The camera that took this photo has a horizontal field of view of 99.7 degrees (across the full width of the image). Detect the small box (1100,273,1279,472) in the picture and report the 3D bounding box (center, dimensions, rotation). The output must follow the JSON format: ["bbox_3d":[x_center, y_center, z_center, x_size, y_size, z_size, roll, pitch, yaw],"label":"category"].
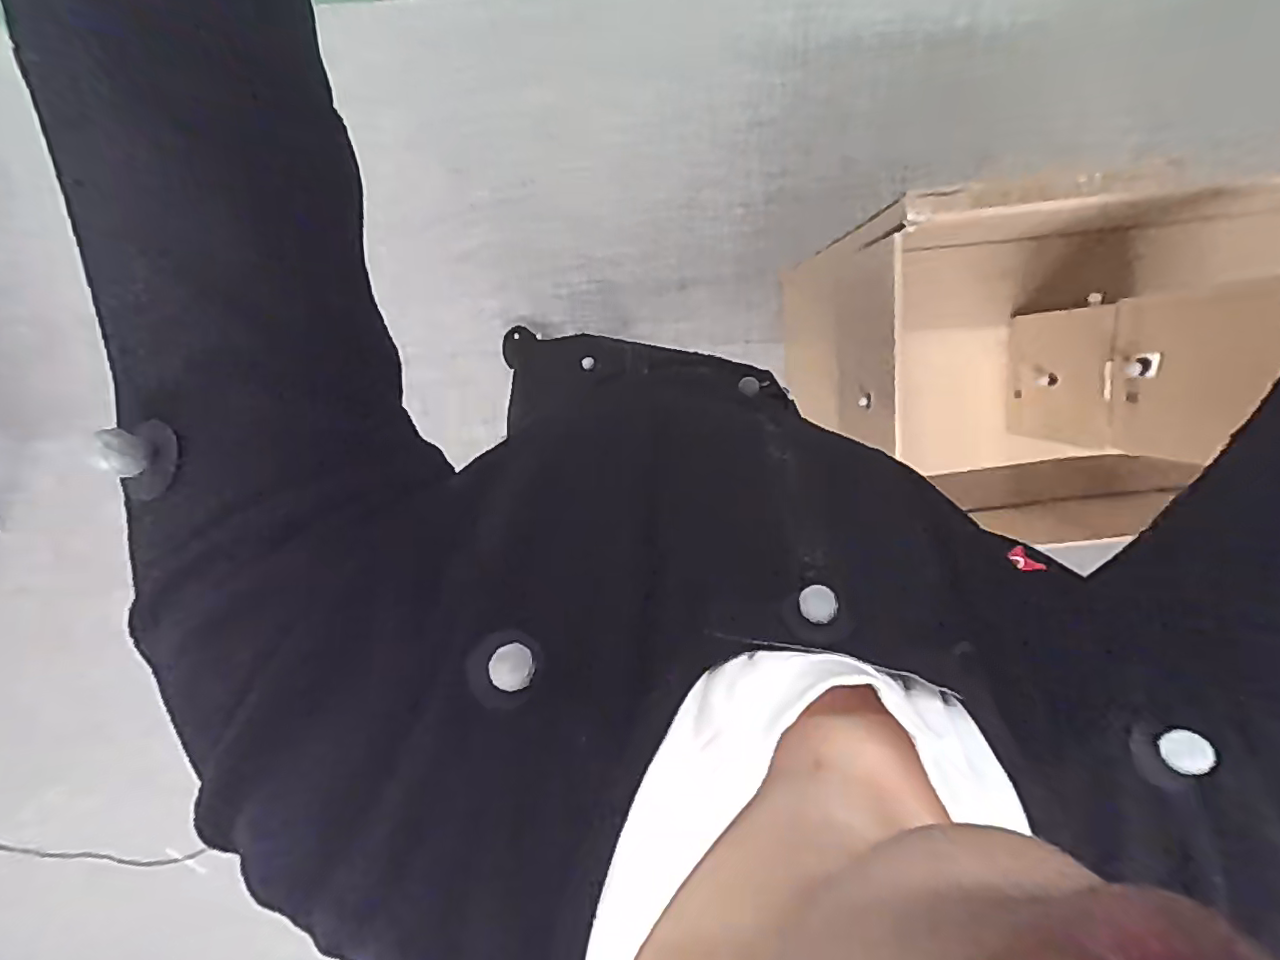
[{"bbox_3d":[0.604,-0.112,0.522,0.179,0.176,0.168,-8,101,0],"label":"small box"}]
